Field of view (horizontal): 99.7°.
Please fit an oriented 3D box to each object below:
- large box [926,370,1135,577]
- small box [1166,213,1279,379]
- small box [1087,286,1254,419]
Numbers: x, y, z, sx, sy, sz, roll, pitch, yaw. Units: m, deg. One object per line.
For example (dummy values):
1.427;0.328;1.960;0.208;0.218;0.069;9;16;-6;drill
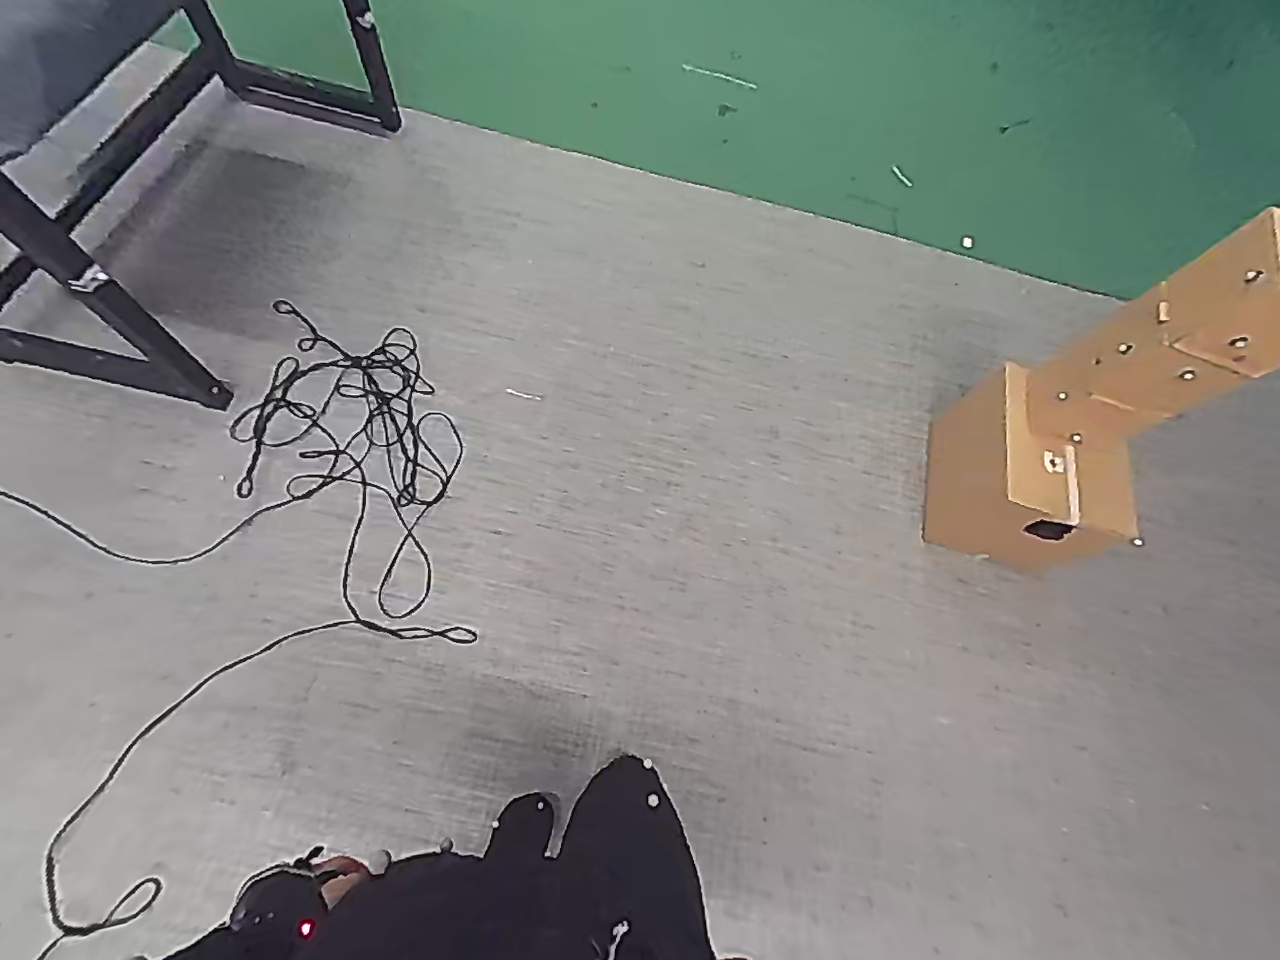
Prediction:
0.985;-0.005;1.413;0.320;0.320;0.408;16;66;0;large box
1.061;-0.308;0.930;0.168;0.176;0.179;21;68;1;small box
1.039;-0.245;1.078;0.179;0.176;0.168;20;67;0;small box
